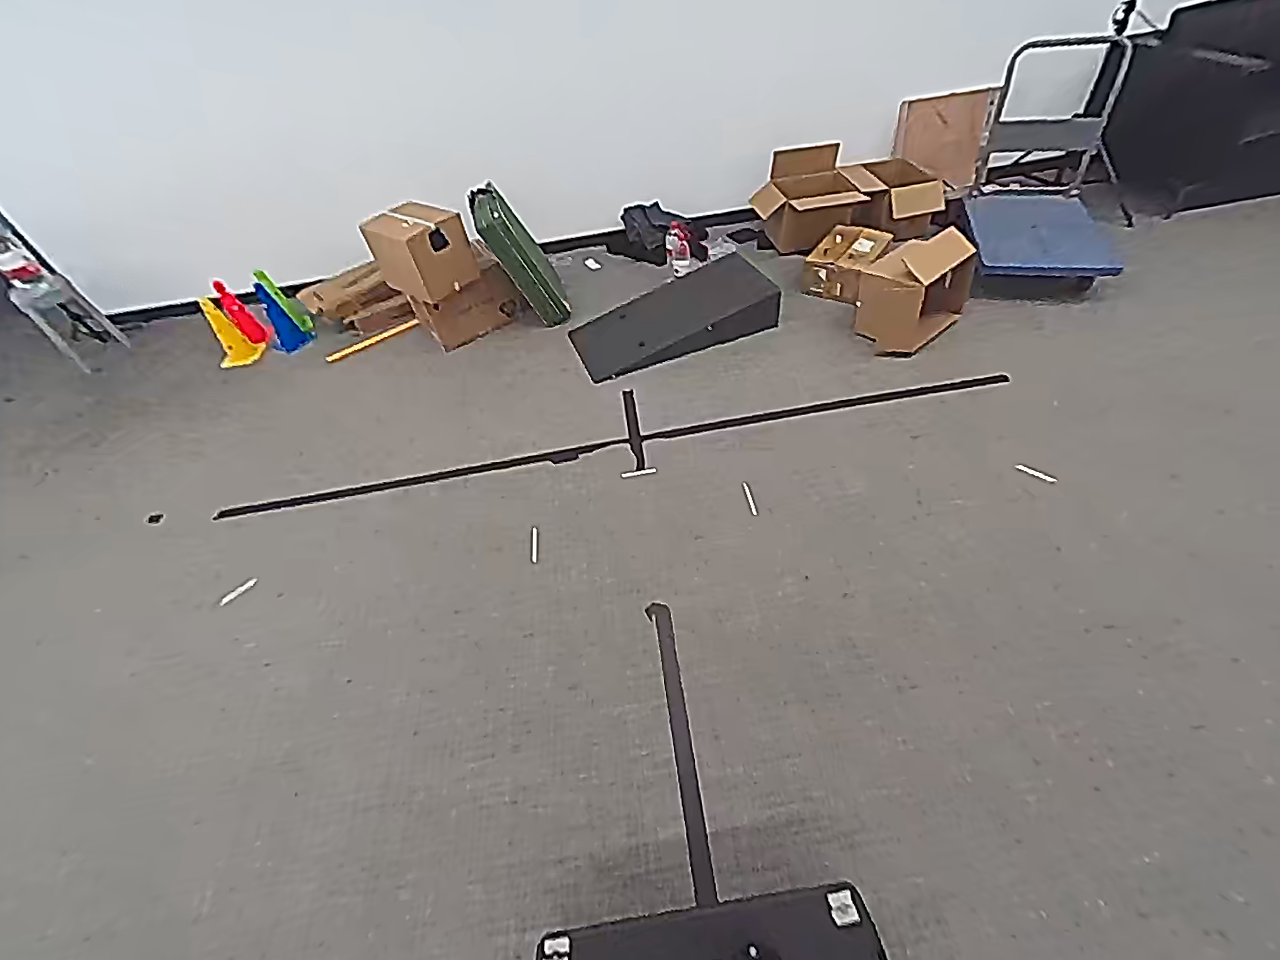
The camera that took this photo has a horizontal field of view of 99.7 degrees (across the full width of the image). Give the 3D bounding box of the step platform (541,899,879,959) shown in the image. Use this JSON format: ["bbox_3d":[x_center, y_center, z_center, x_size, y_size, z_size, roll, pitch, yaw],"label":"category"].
[{"bbox_3d":[0.133,1.026,1.024,0.684,0.204,0.286,-9,48,-1],"label":"step platform"}]
